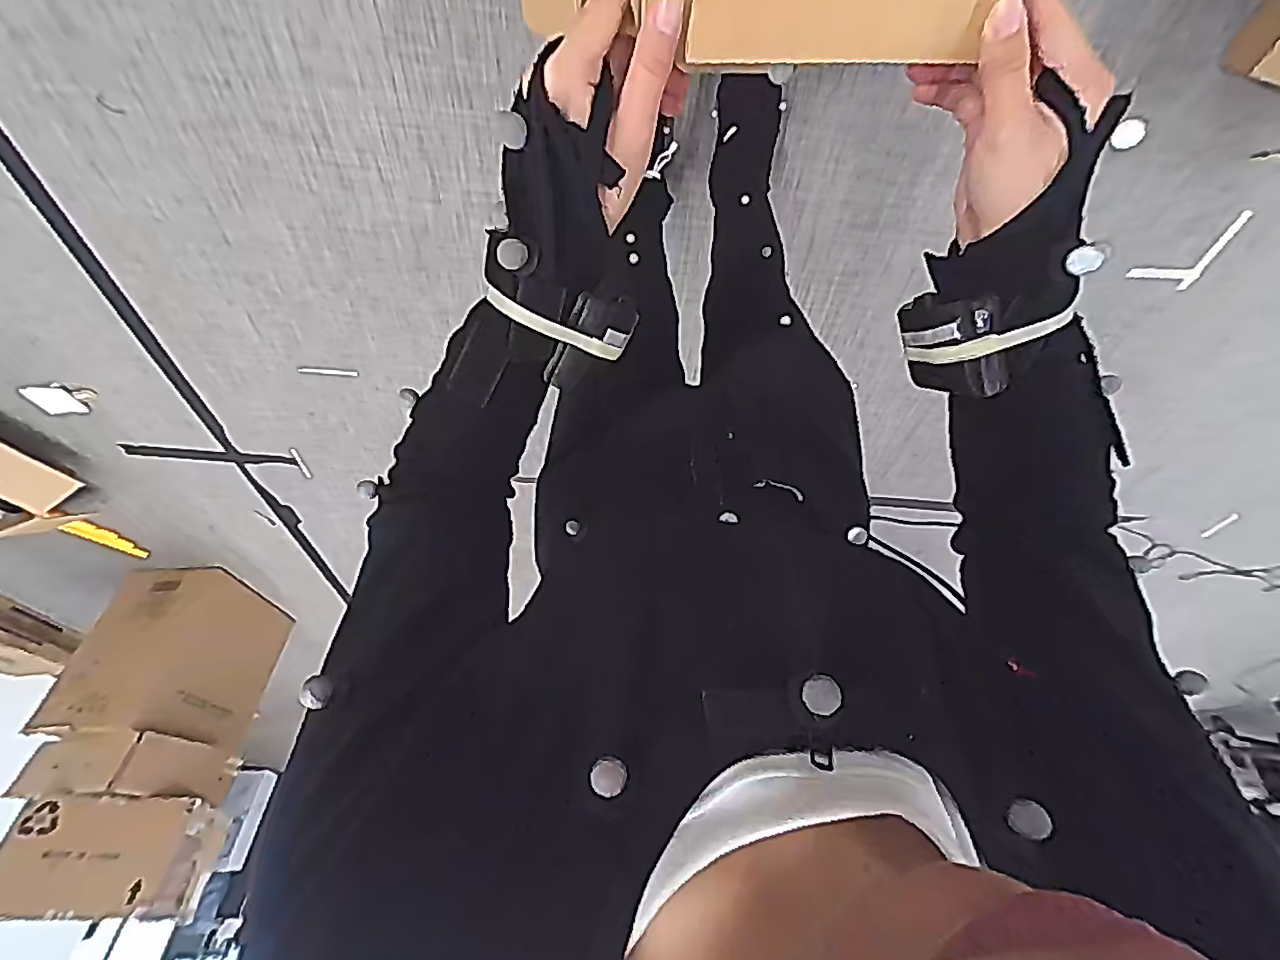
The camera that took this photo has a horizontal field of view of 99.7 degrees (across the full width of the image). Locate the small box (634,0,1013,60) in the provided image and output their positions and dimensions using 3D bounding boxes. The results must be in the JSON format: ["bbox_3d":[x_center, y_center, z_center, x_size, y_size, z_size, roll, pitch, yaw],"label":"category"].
[{"bbox_3d":[0.085,-0.320,0.252,0.179,0.176,0.168,-1,140,-1],"label":"small box"}]
